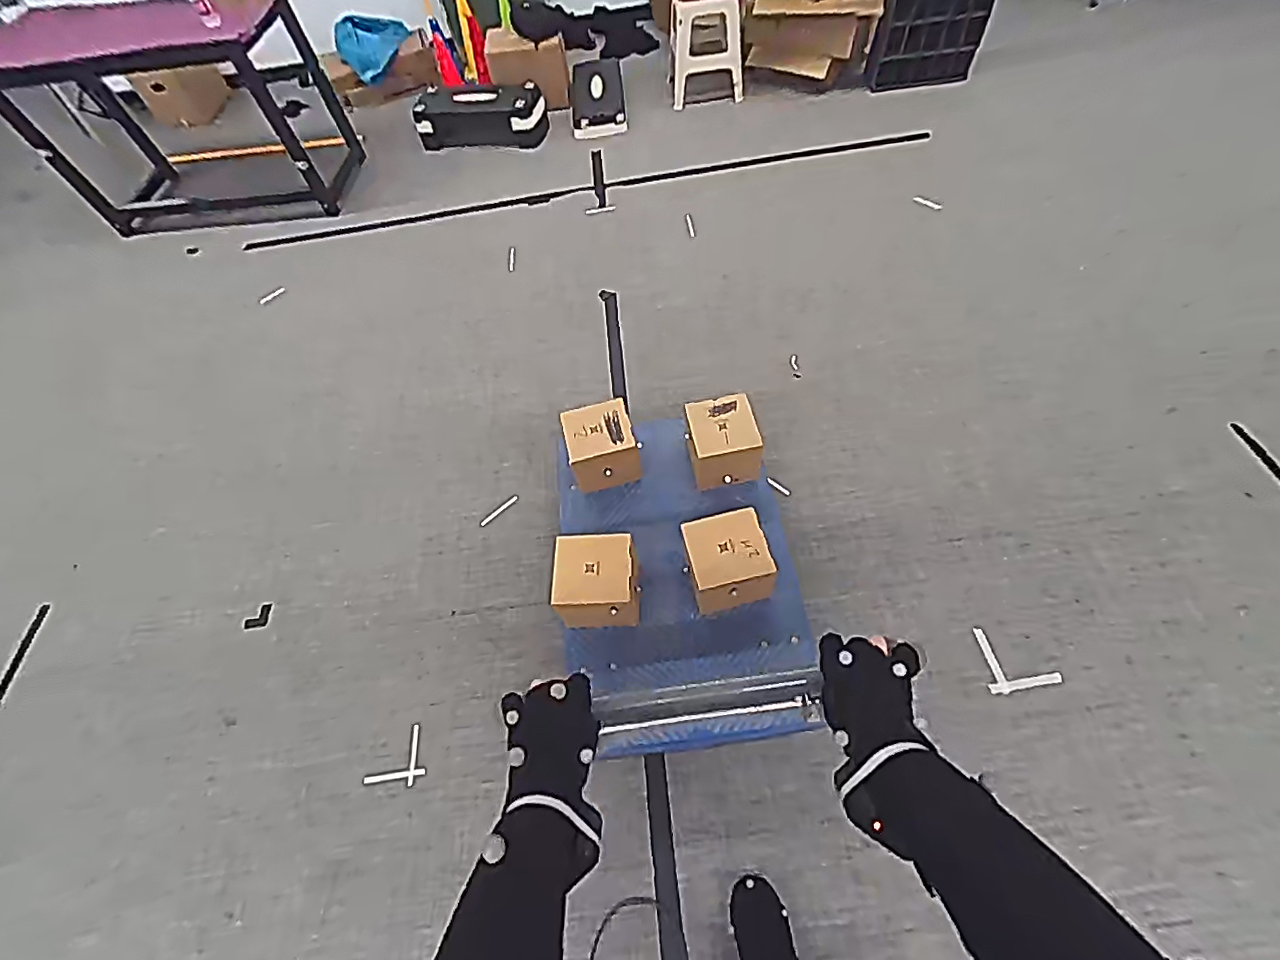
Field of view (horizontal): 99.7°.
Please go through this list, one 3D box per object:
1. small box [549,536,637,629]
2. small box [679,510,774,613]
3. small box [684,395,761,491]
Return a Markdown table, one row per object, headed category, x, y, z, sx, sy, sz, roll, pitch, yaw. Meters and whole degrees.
| category | x | y | z | sx | sy | sz | roll | pitch | yaw |
| --- | --- | --- | --- | --- | --- | --- | --- | --- | --- |
| small box | -0.103 | 0.244 | 1.263 | 0.179 | 0.176 | 0.168 | -3 | 58 | 3 |
| small box | 0.197 | 0.195 | 1.256 | 0.179 | 0.176 | 0.168 | -14 | 58 | -1 |
| small box | 0.211 | -0.095 | 1.432 | 0.168 | 0.176 | 0.179 | -11 | 59 | 0 |
